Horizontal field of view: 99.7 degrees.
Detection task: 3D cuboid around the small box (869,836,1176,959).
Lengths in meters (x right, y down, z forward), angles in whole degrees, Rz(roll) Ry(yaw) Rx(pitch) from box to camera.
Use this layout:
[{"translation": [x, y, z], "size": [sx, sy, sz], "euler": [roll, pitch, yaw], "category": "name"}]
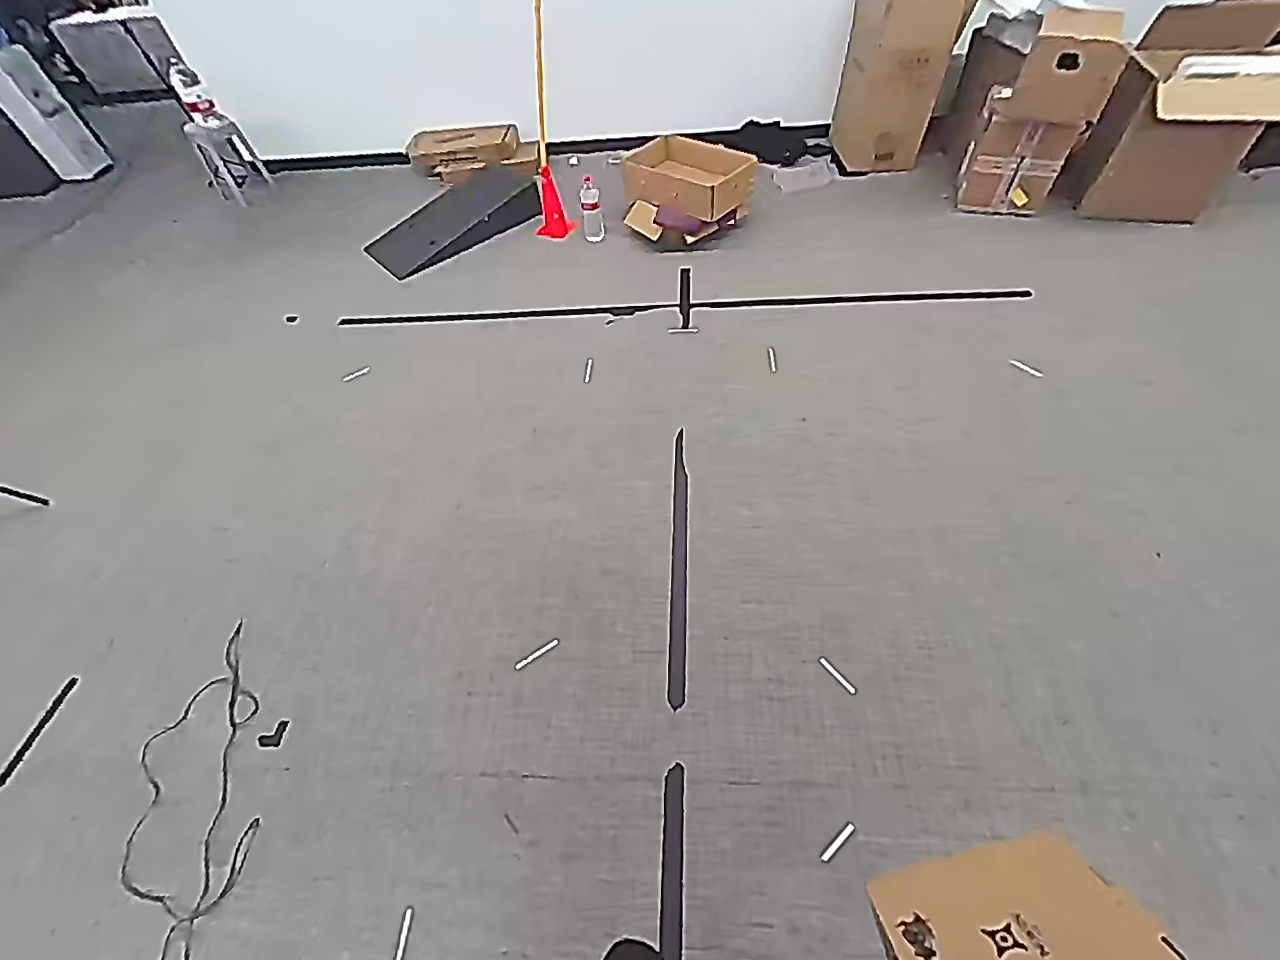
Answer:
[{"translation": [0.310, 0.429, 0.417], "size": [0.179, 0.168, 0.176], "euler": [-17, 91, 3], "category": "small box"}]
